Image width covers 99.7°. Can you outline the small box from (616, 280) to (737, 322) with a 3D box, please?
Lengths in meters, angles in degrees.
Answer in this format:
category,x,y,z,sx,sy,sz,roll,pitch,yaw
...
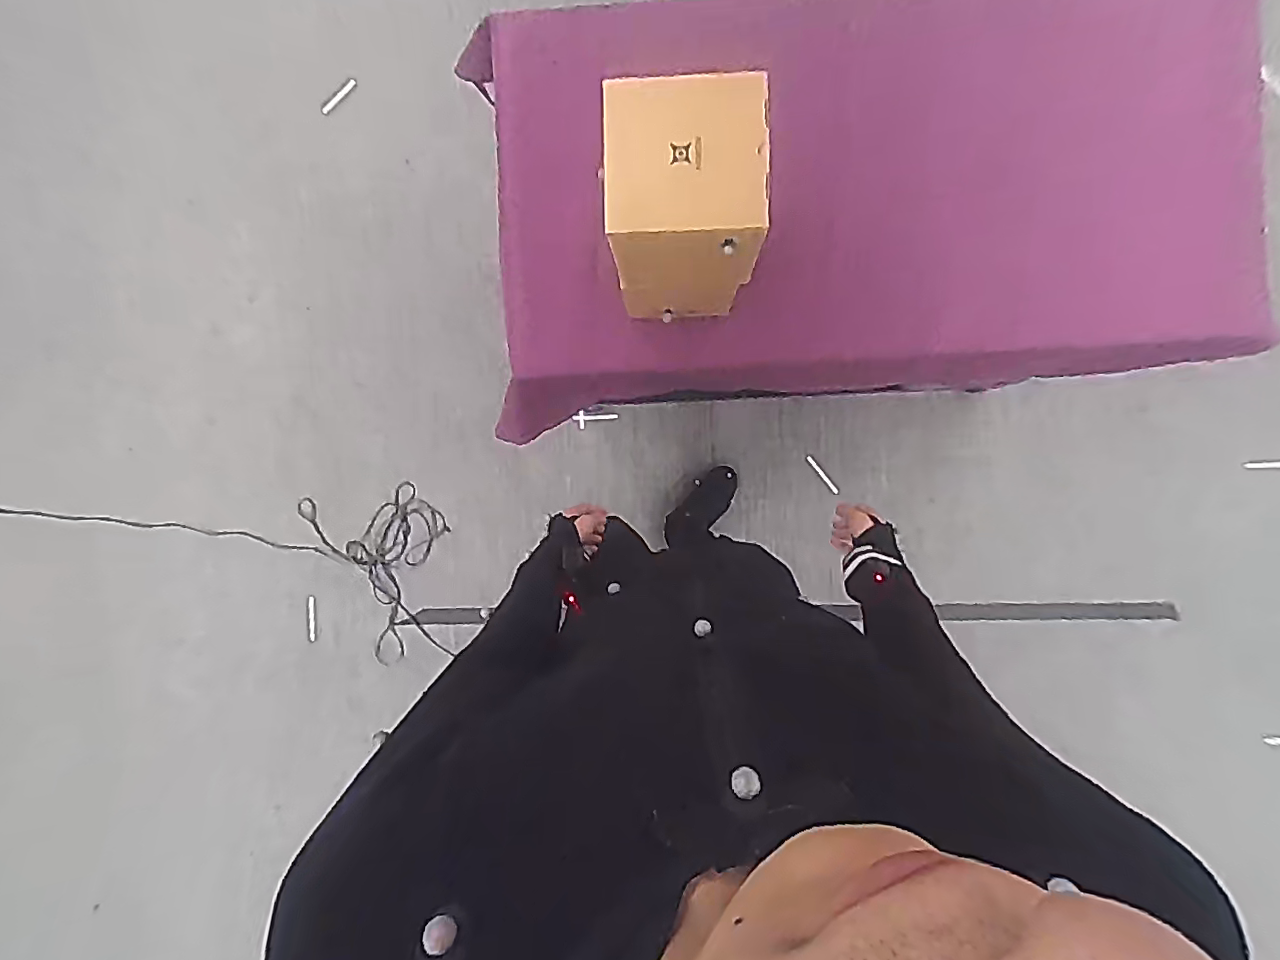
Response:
category,x,y,z,sx,sy,sz,roll,pitch,yaw
small box,0.052,-0.348,0.808,0.168,0.176,0.179,-1,92,4

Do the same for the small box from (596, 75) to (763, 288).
category,x,y,z,sx,sy,sz,roll,pitch,yaw
small box,0.047,-0.338,0.646,0.179,0.176,0.168,-1,91,3
